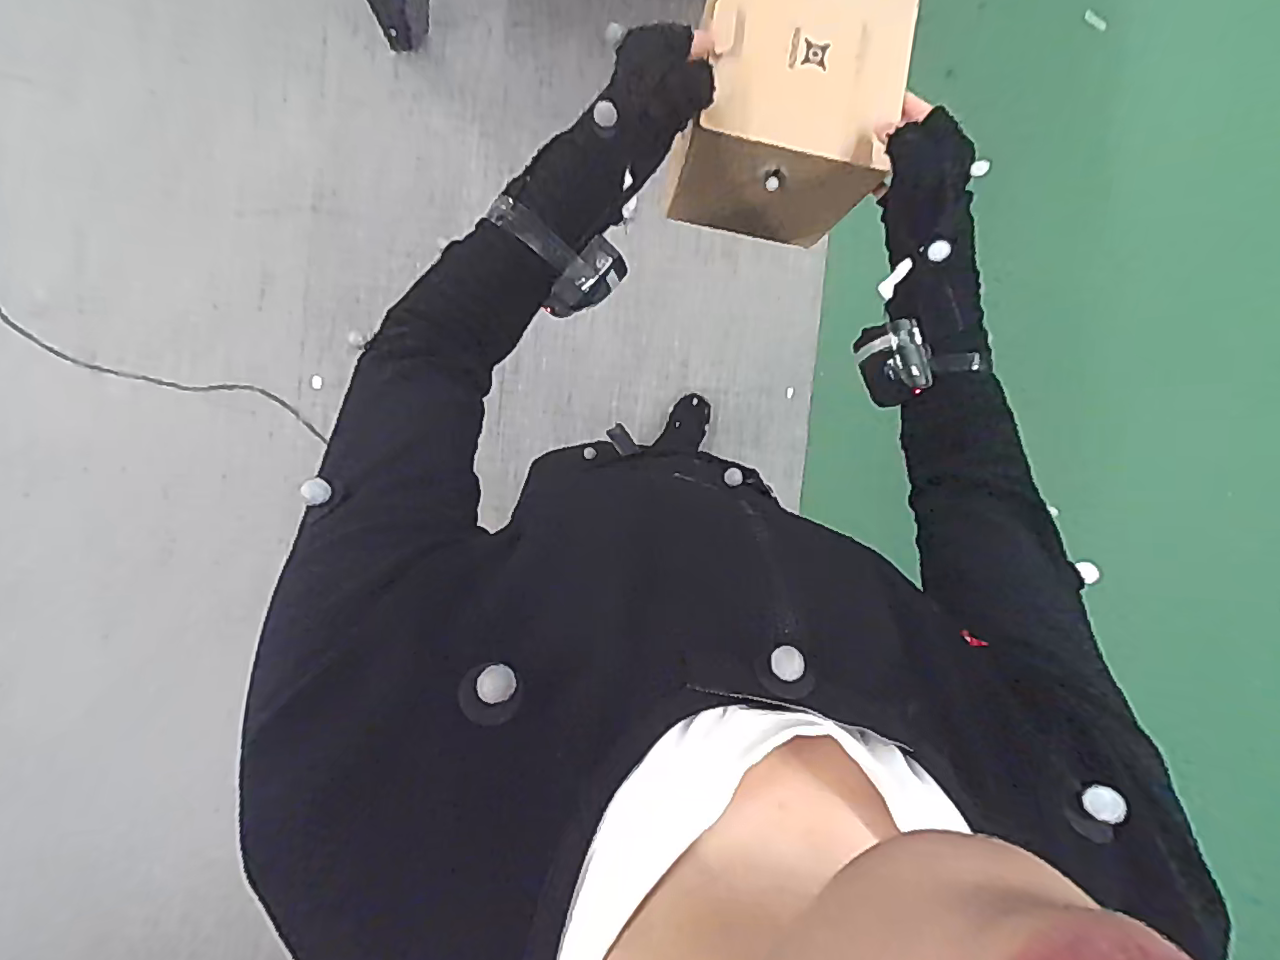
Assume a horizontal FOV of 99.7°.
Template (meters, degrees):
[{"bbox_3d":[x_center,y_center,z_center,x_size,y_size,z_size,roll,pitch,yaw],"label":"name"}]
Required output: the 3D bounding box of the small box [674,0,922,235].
[{"bbox_3d":[0.139,-0.367,0.534,0.179,0.176,0.168,8,91,-8],"label":"small box"}]
